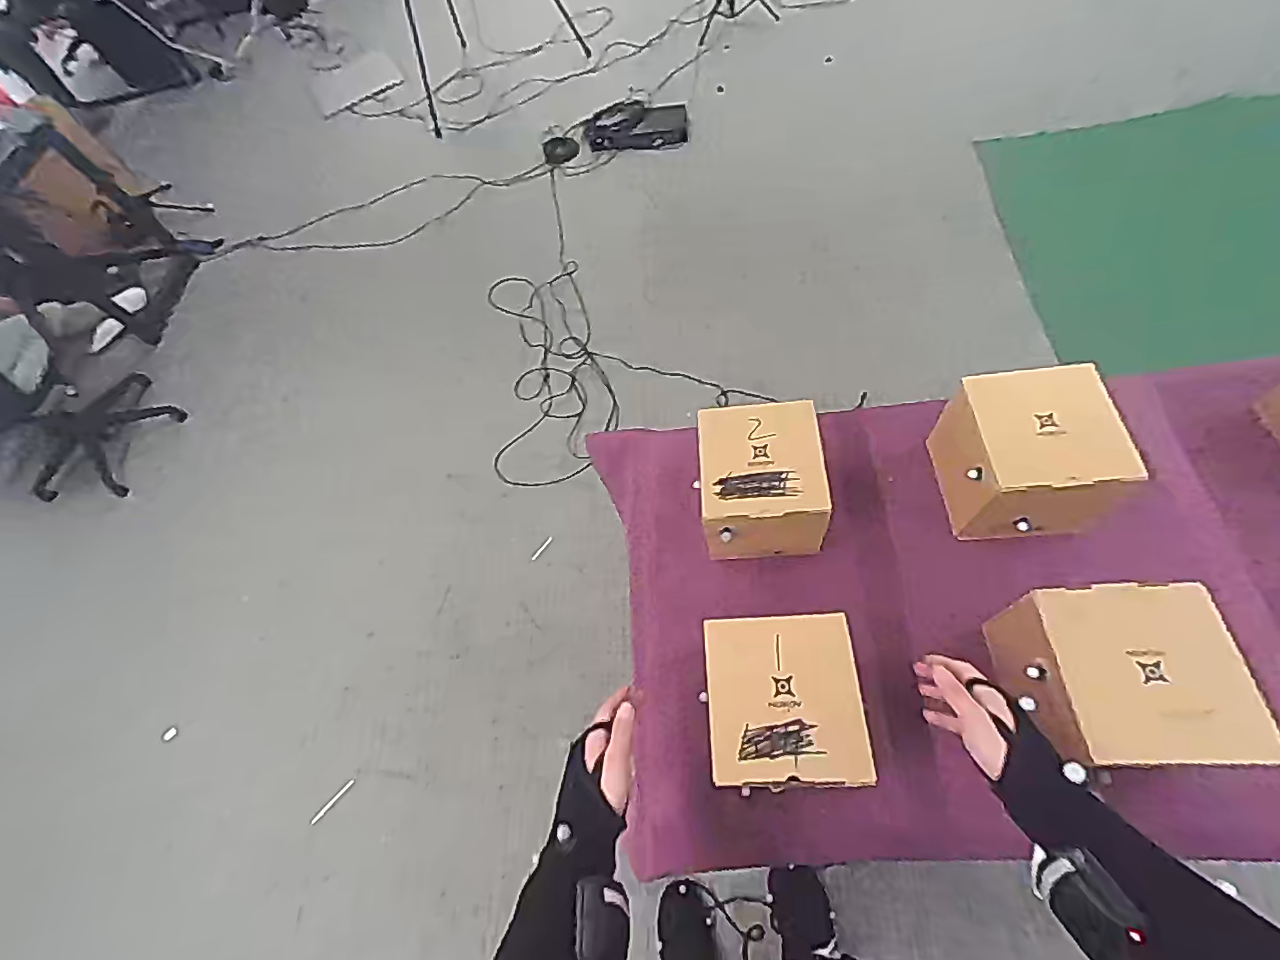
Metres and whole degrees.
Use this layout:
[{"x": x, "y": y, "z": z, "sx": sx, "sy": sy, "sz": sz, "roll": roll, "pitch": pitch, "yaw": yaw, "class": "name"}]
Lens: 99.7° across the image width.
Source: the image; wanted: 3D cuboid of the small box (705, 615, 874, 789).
[{"x": 0.172, "y": 0.275, "z": 0.663, "sx": 0.168, "sy": 0.176, "sz": 0.179, "roll": -5, "pitch": 60, "yaw": 8, "class": "small box"}]

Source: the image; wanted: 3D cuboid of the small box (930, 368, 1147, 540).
[{"x": 0.532, "y": -0.030, "z": 0.759, "sx": 0.168, "sy": 0.176, "sz": 0.179, "roll": -5, "pitch": 62, "yaw": 8, "class": "small box"}]
